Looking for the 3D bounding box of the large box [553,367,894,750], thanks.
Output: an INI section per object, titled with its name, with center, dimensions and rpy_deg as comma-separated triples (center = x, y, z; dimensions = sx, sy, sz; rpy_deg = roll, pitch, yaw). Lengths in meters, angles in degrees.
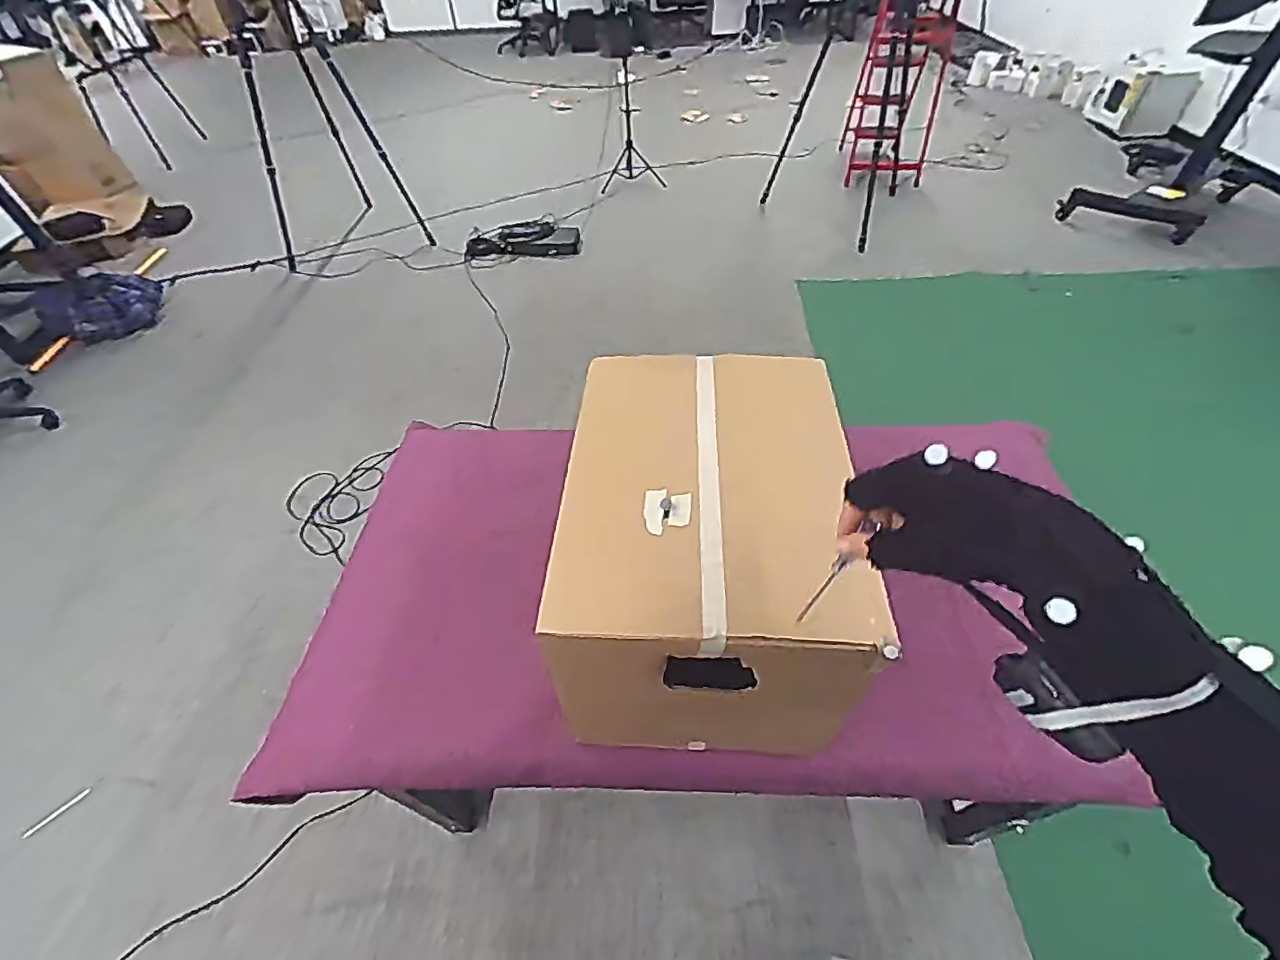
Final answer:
[large box]
center = 0.085, 0.096, 0.722
dimensions = 0.320, 0.320, 0.408
rpy_deg = 1, 49, 4
